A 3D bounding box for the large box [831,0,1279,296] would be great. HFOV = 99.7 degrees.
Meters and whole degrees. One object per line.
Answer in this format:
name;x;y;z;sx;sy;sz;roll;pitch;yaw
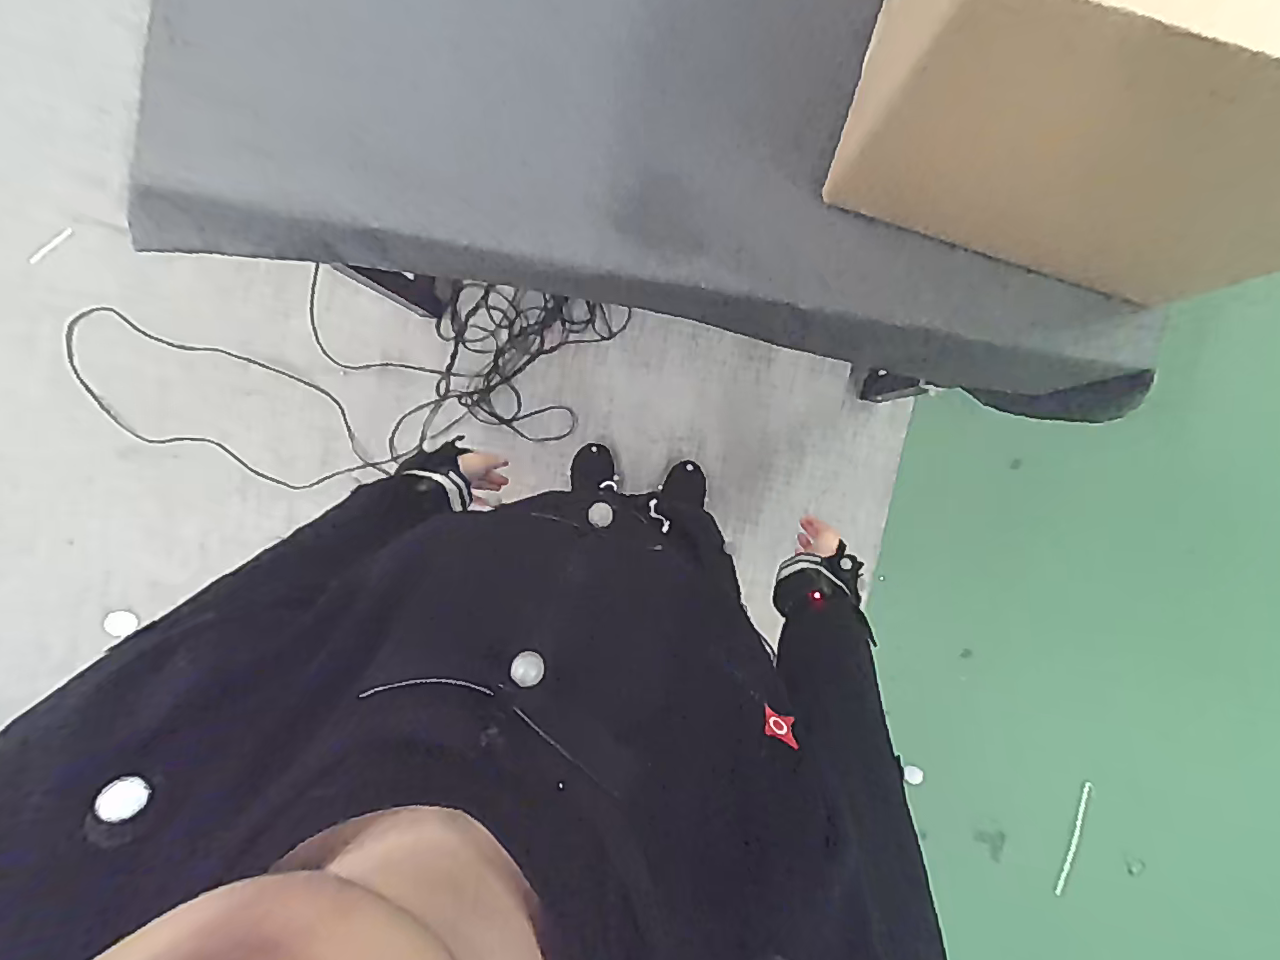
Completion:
large box;0.441;-0.398;0.459;0.408;0.320;0.320;17;94;-1
